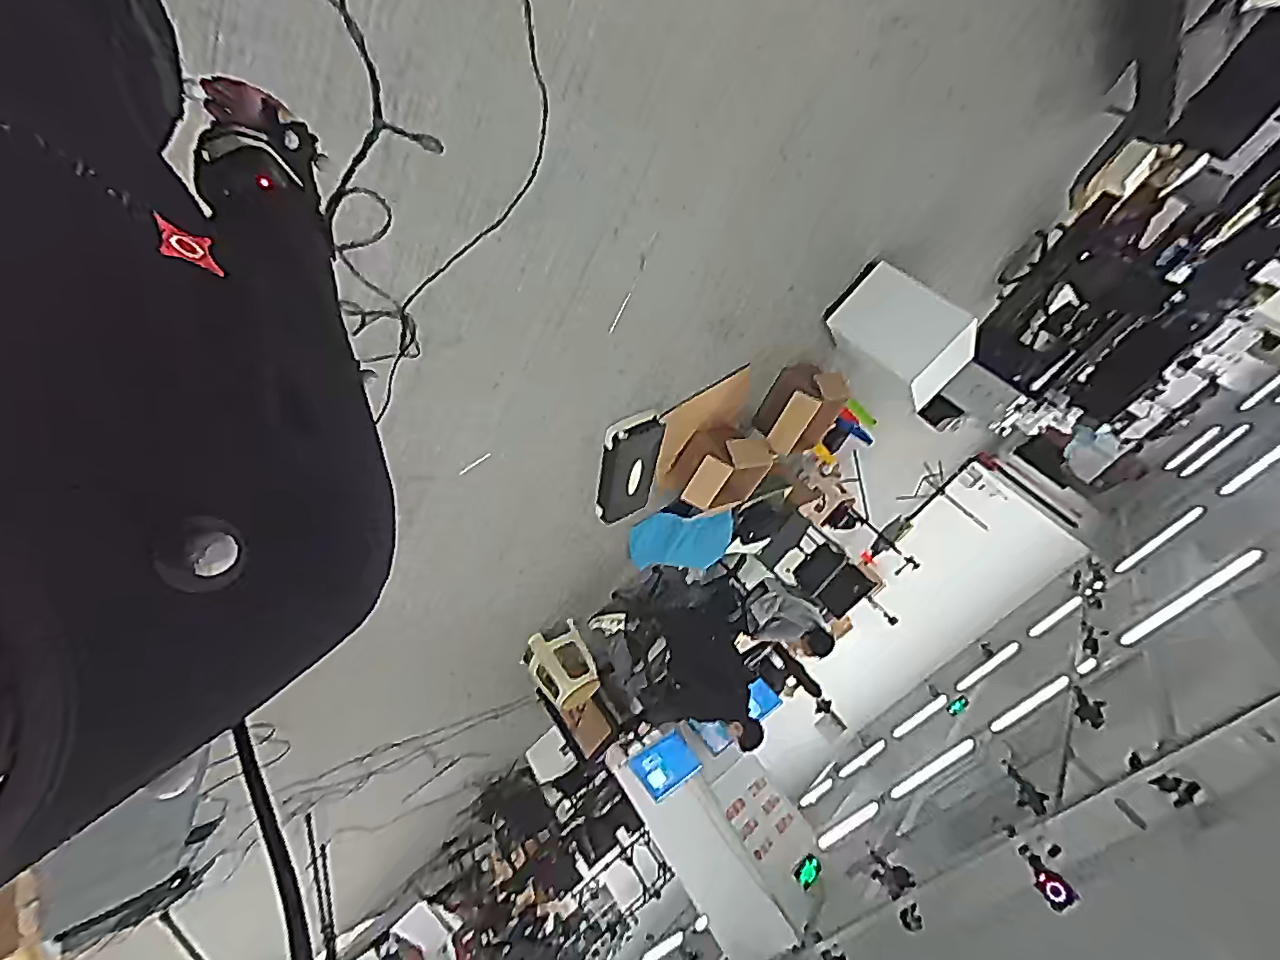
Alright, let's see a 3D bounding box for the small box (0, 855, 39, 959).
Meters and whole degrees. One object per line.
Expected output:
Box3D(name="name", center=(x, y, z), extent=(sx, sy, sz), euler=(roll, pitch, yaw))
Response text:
Box3D(name="small box", center=(-1.050, 0.713, 0.817), extent=(0.168, 0.176, 0.179), euler=(-10, 140, -44))
